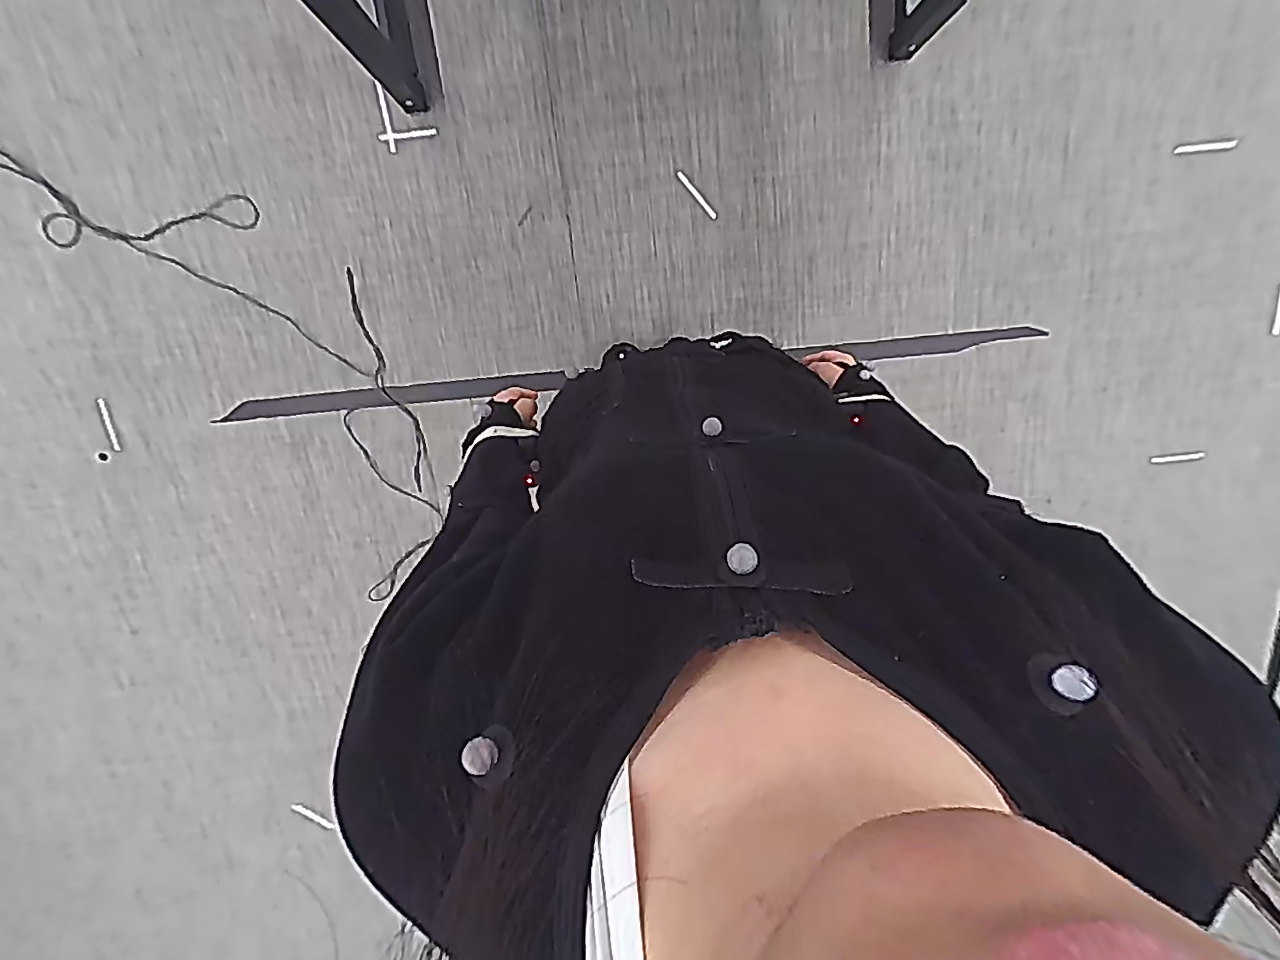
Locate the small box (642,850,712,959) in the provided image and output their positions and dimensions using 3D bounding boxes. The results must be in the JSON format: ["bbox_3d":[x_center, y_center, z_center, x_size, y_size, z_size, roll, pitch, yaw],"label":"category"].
[{"bbox_3d":[0.101,1.193,1.524,0.168,0.176,0.179,-11,105,0],"label":"small box"}]
